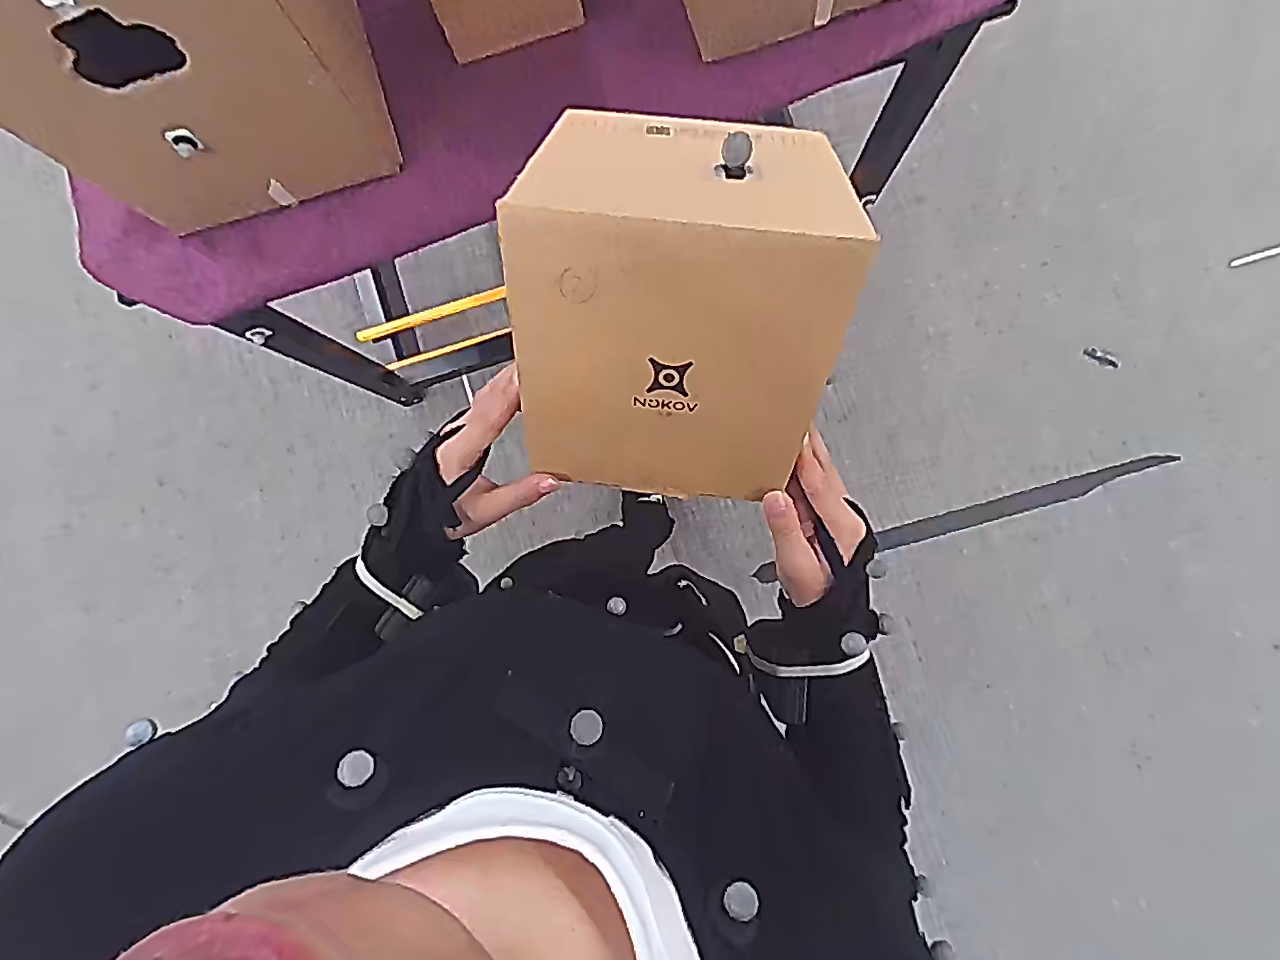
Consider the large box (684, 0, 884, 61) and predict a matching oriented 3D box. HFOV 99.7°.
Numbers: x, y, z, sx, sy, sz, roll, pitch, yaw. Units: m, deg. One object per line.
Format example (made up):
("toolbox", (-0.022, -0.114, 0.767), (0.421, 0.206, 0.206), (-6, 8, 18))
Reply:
("large box", (0.157, -0.765, 0.548), (0.320, 0.320, 0.408), (-18, 83, 1))
